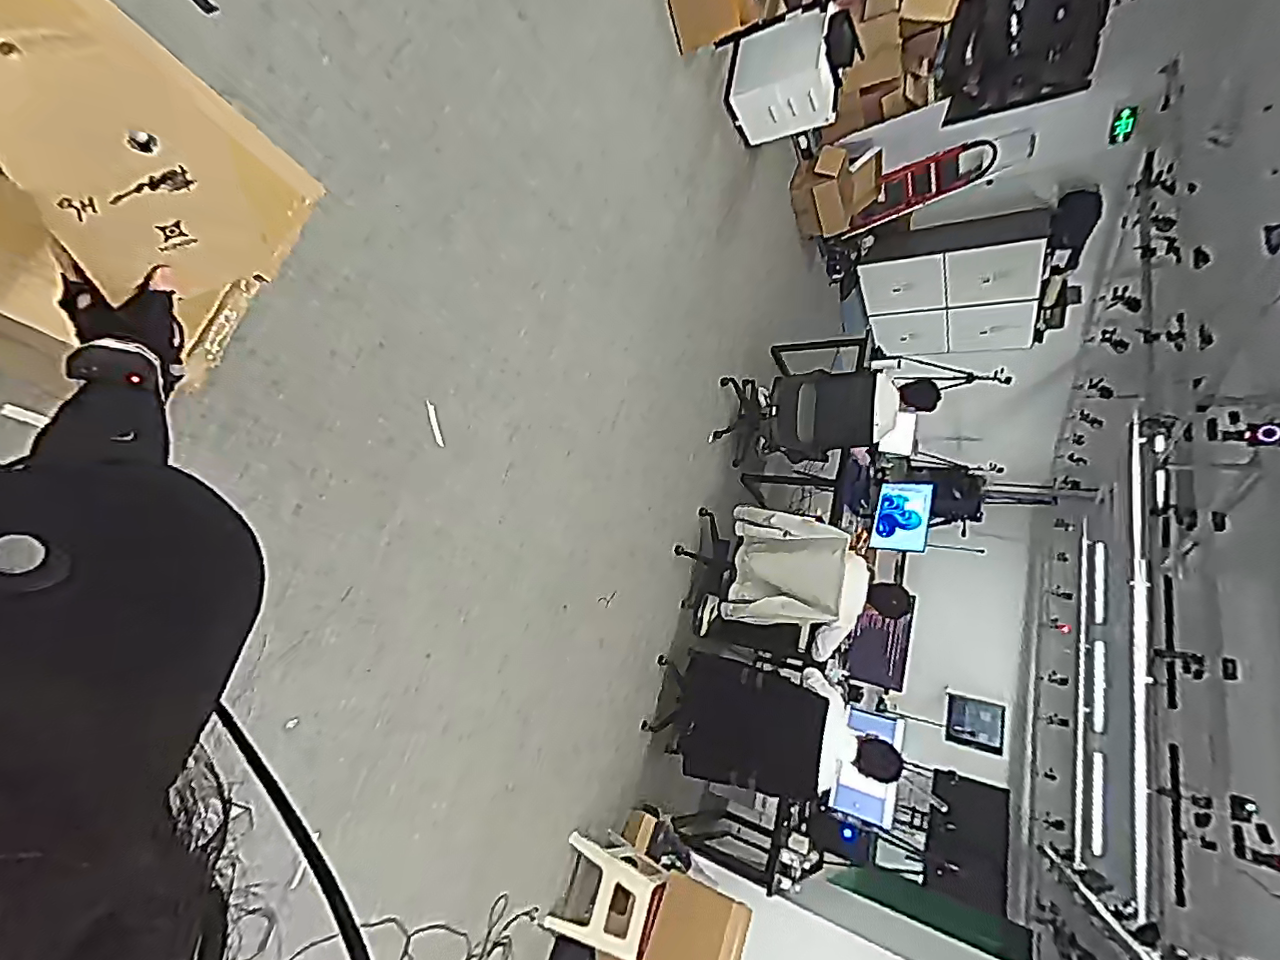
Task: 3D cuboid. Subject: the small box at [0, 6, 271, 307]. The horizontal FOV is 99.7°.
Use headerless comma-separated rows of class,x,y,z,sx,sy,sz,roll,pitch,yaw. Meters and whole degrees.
small box,-0.516,-0.314,0.541,0.168,0.179,0.176,-37,90,-29
